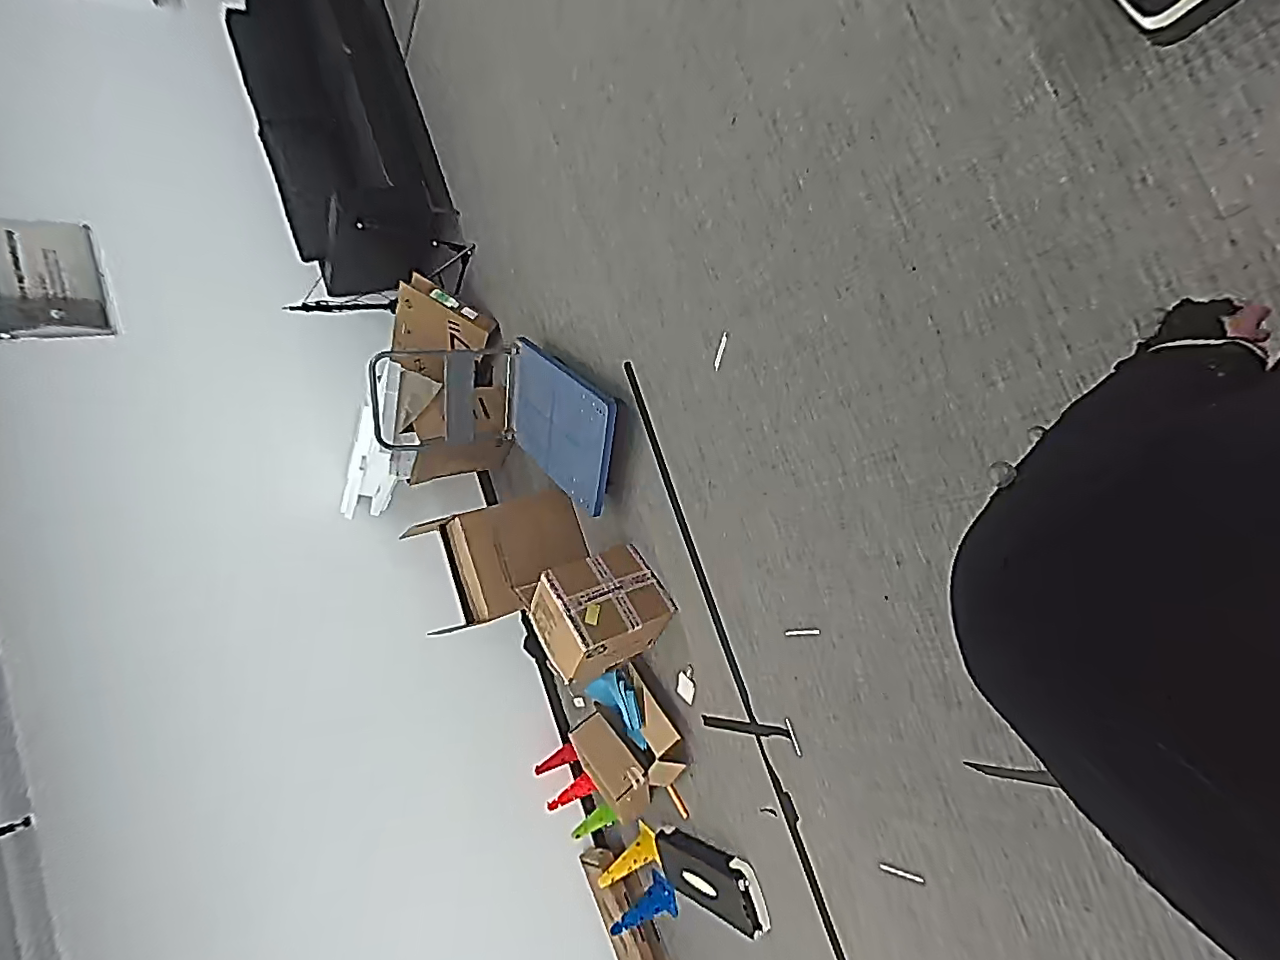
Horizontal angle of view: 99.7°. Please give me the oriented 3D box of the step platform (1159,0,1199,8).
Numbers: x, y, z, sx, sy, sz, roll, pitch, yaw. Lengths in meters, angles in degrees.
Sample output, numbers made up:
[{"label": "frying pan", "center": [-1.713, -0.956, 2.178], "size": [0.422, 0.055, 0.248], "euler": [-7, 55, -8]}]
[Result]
[{"label": "step platform", "center": [0.954, -0.974, 0.607], "size": [0.684, 0.204, 0.286], "euler": [-28, 79, 55]}]
